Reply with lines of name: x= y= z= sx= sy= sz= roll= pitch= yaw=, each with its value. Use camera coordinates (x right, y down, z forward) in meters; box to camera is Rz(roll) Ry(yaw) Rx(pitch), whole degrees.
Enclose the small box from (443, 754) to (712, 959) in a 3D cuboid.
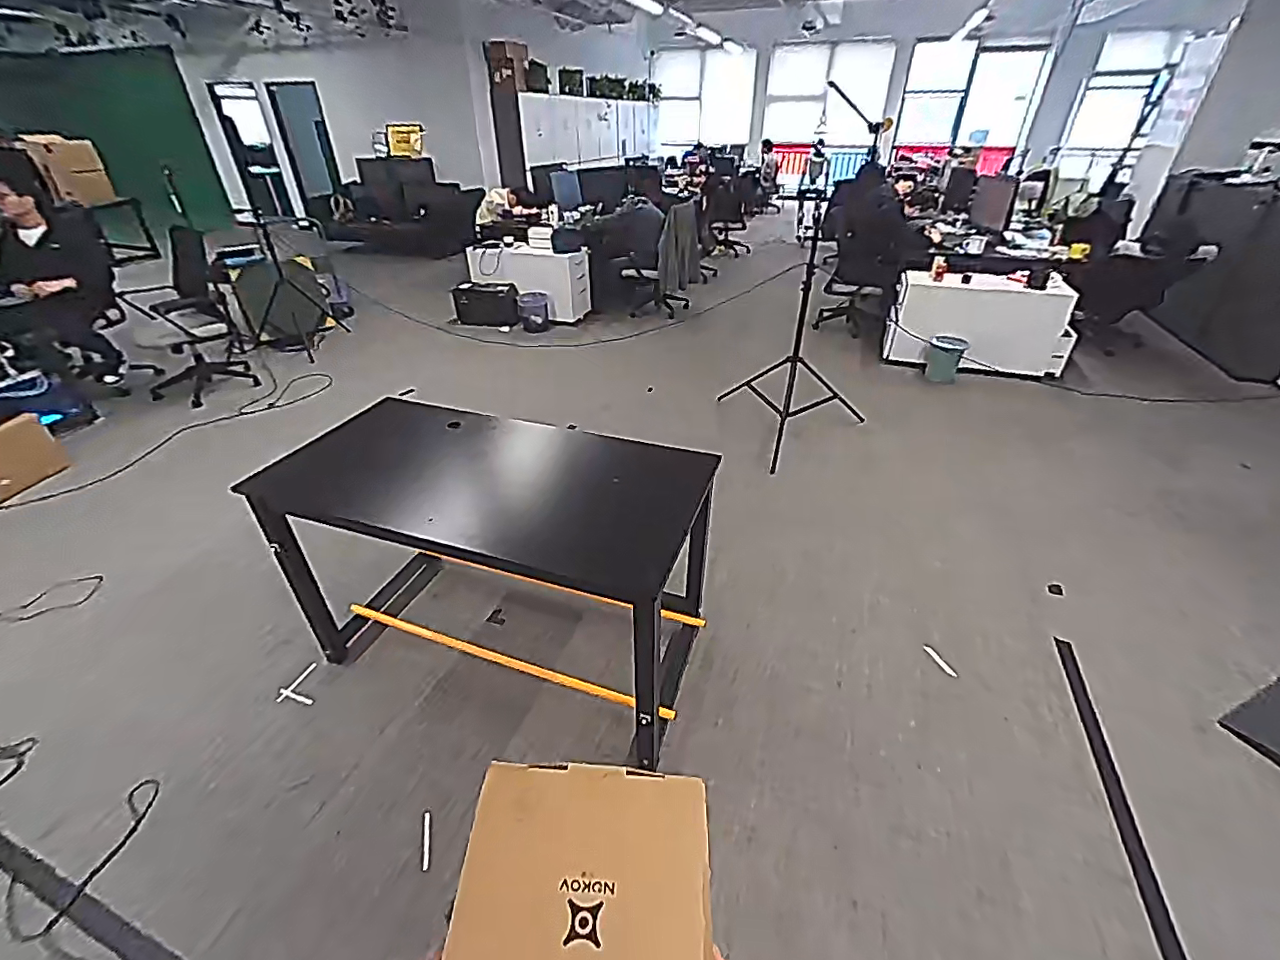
small box: x=-0.043 y=0.332 z=0.400 sx=0.168 sy=0.176 sz=0.179 roll=5 pitch=42 yaw=-2
